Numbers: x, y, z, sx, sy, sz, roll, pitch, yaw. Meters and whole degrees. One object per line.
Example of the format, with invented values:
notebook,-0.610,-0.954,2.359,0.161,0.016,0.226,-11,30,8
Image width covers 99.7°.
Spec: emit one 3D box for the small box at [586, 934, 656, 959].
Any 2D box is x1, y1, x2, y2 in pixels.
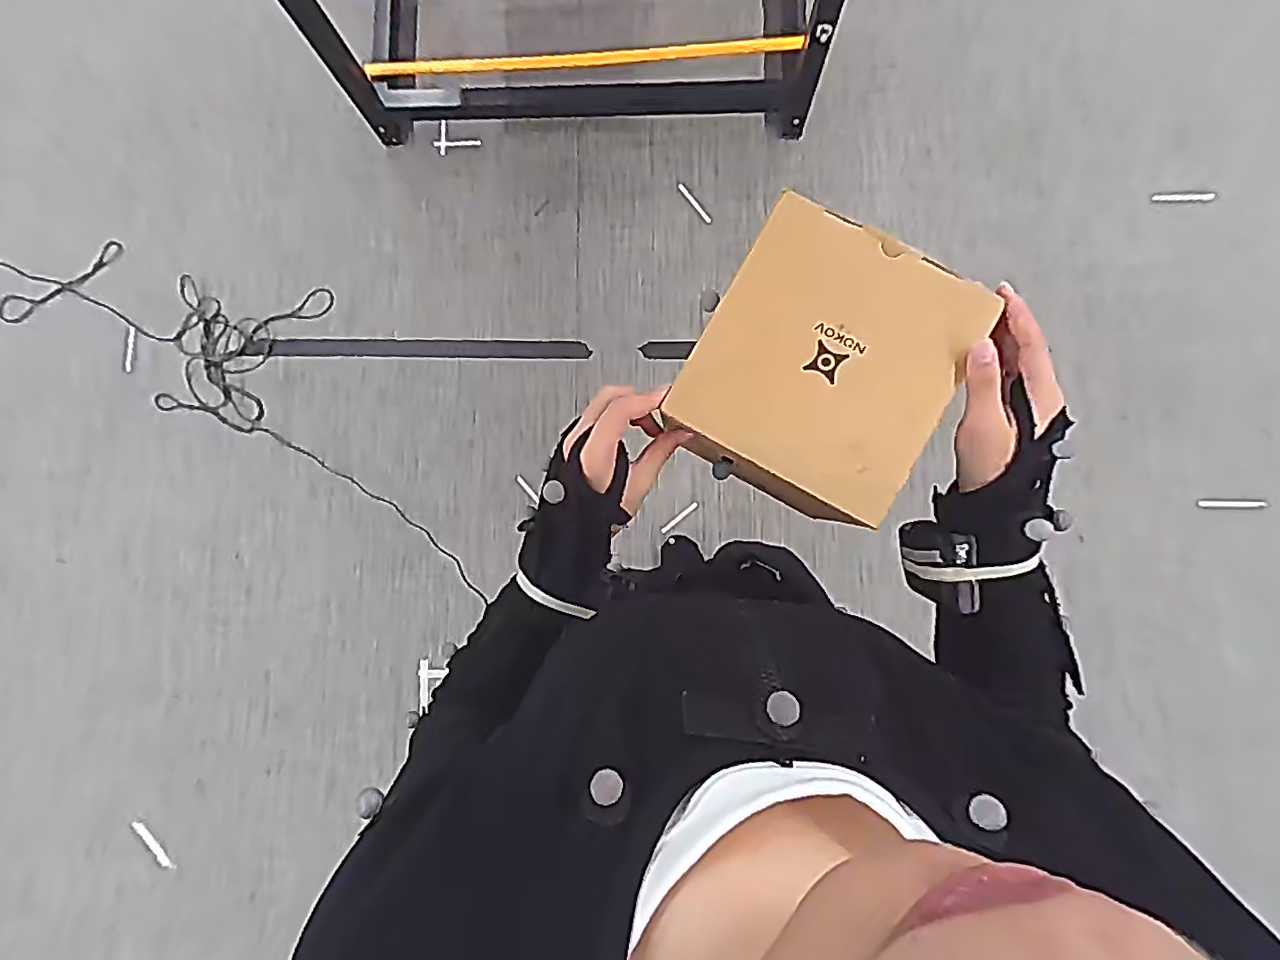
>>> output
small box,-0.054,1.183,1.220,0.168,0.176,0.179,8,86,4
